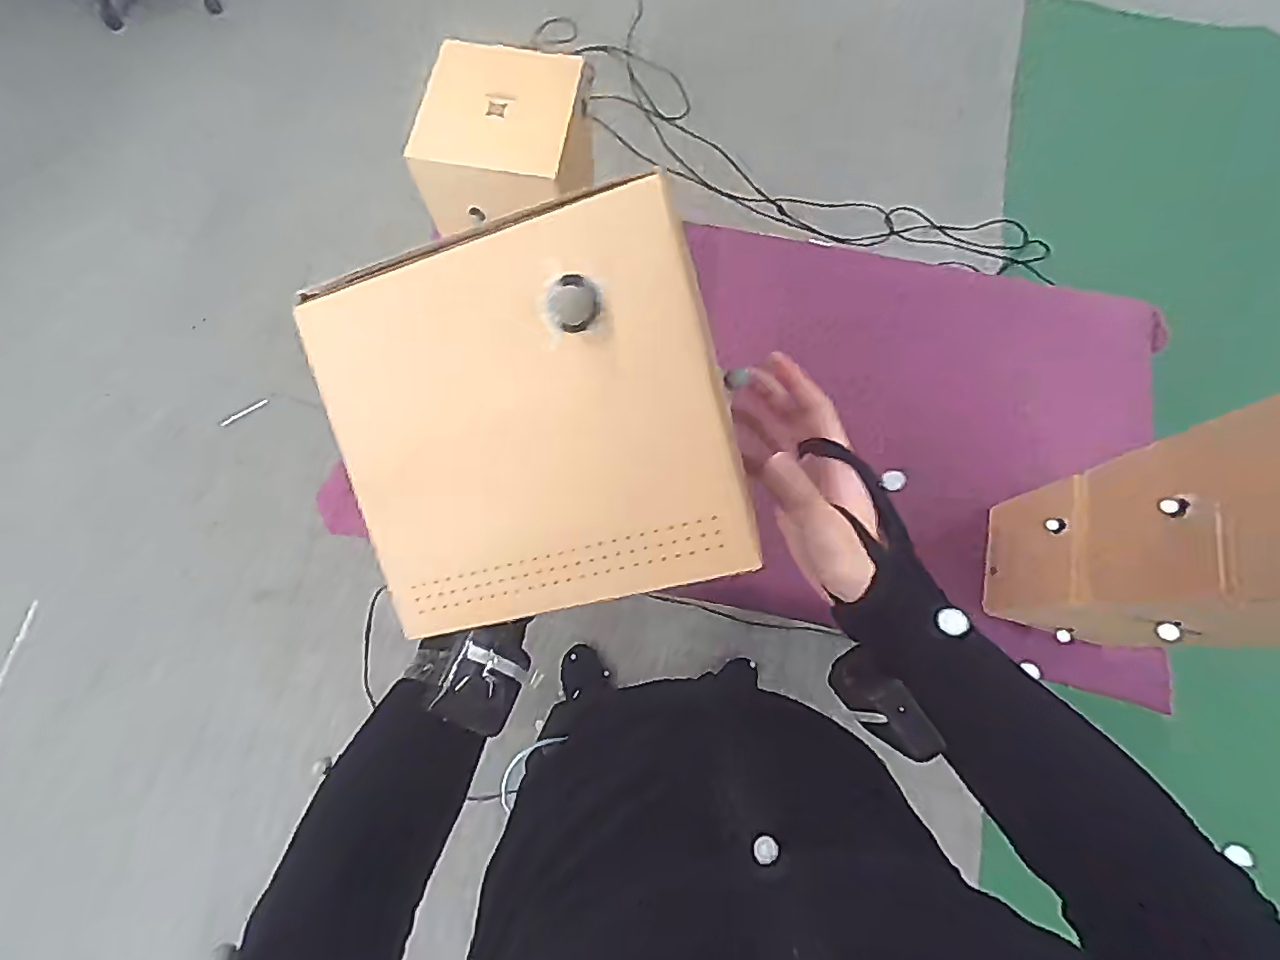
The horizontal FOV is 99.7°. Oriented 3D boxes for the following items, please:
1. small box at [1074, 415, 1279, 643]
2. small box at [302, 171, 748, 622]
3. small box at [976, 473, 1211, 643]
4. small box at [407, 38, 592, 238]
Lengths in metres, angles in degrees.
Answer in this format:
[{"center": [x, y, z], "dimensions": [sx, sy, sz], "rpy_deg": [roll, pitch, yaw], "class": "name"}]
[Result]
[{"center": [0.595, 0.061, 0.560], "dimensions": [0.168, 0.176, 0.179], "rpy_deg": [15, 74, 5], "class": "small box"}, {"center": [-0.038, -0.037, 0.313], "dimensions": [0.179, 0.168, 0.176], "rpy_deg": [-14, 97, 13], "class": "small box"}, {"center": [0.589, 0.109, 0.716], "dimensions": [0.179, 0.176, 0.168], "rpy_deg": [15, 74, 3], "class": "small box"}, {"center": [-0.156, -0.390, 0.670], "dimensions": [0.168, 0.176, 0.179], "rpy_deg": [9, 74, 1], "class": "small box"}]
